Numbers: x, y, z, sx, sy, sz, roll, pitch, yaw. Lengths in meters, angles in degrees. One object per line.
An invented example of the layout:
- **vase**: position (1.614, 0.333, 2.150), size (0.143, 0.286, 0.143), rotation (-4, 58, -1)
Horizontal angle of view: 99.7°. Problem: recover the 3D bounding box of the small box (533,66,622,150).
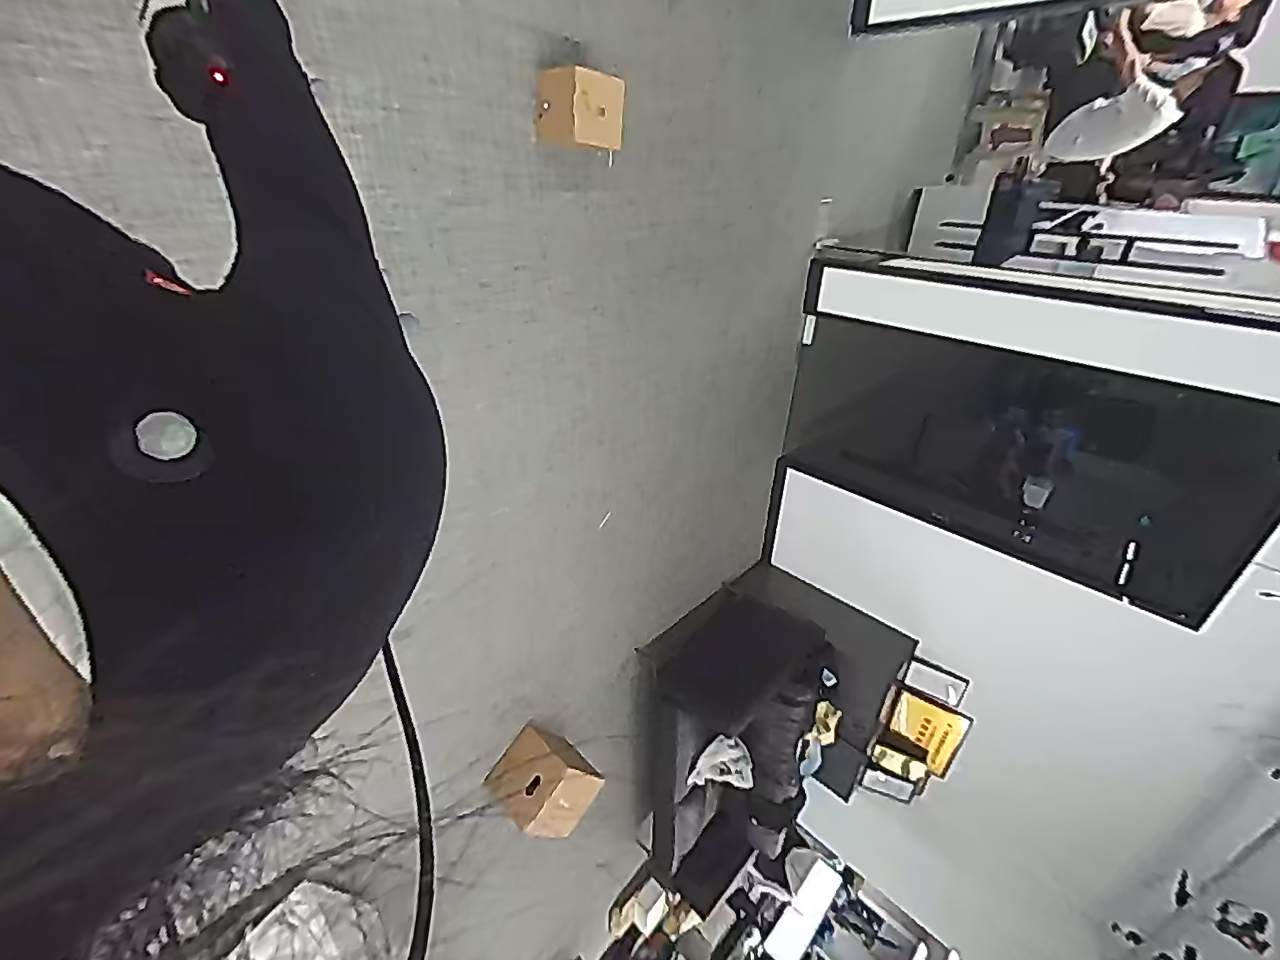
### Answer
- **small box**: position (-0.174, -1.025, 1.498), size (0.179, 0.176, 0.168), rotation (-21, 127, -42)
